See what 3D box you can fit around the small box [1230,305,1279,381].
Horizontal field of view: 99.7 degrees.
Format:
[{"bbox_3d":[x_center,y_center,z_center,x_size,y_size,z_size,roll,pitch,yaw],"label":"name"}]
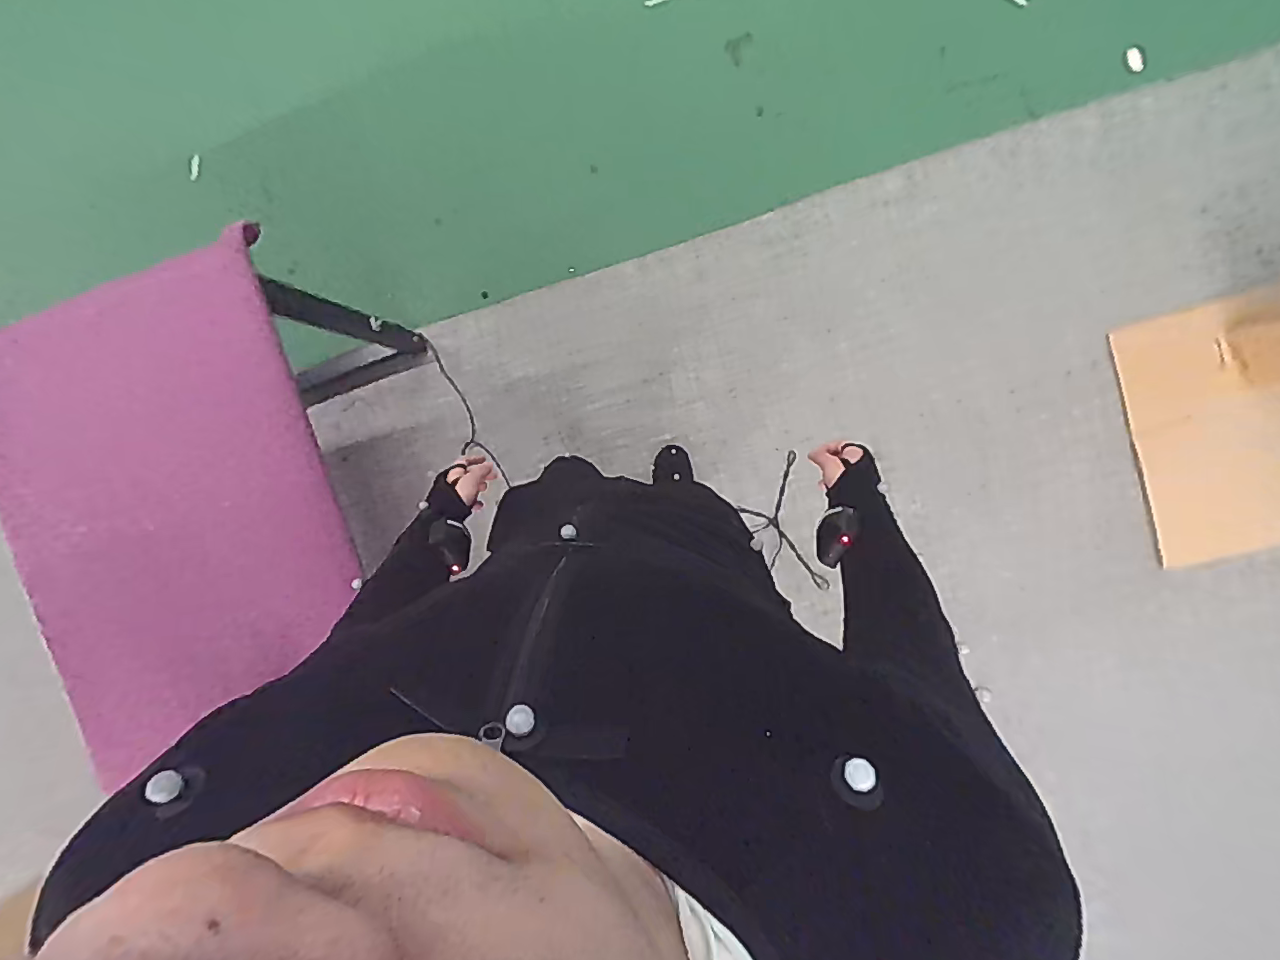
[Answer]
[{"bbox_3d":[1.658,-0.358,1.343,0.179,0.176,0.168,-24,92,6],"label":"small box"}]
